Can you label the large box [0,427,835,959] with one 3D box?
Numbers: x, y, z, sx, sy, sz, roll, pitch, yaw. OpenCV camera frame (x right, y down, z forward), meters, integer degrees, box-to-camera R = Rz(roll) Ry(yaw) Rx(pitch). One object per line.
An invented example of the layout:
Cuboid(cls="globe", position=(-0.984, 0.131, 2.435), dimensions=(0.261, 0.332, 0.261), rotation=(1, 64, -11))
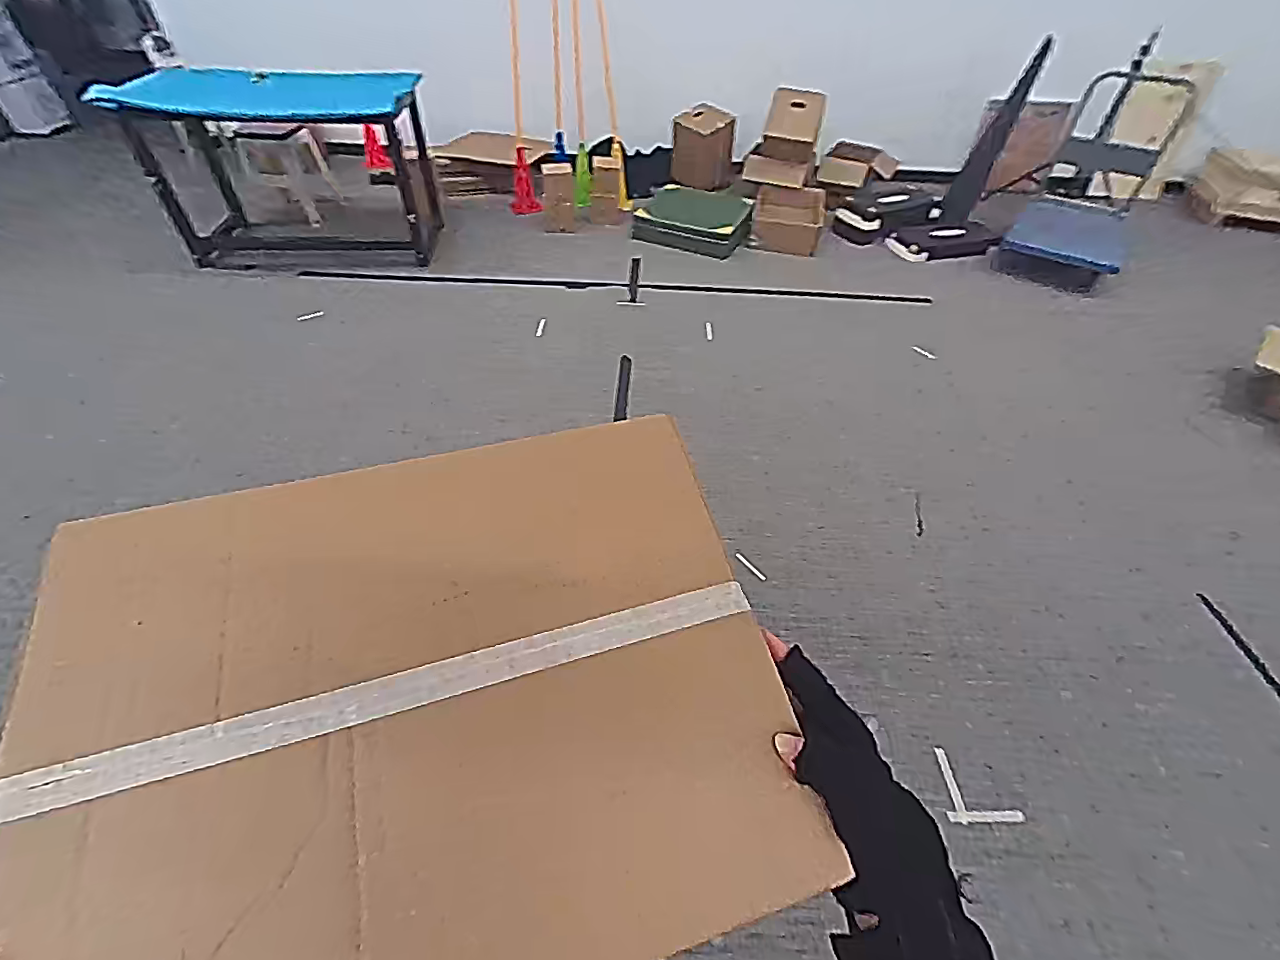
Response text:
Cuboid(cls="large box", position=(-0.133, 0.199, 0.447), dimensions=(0.408, 0.320, 0.320), rotation=(-12, 61, -12))
